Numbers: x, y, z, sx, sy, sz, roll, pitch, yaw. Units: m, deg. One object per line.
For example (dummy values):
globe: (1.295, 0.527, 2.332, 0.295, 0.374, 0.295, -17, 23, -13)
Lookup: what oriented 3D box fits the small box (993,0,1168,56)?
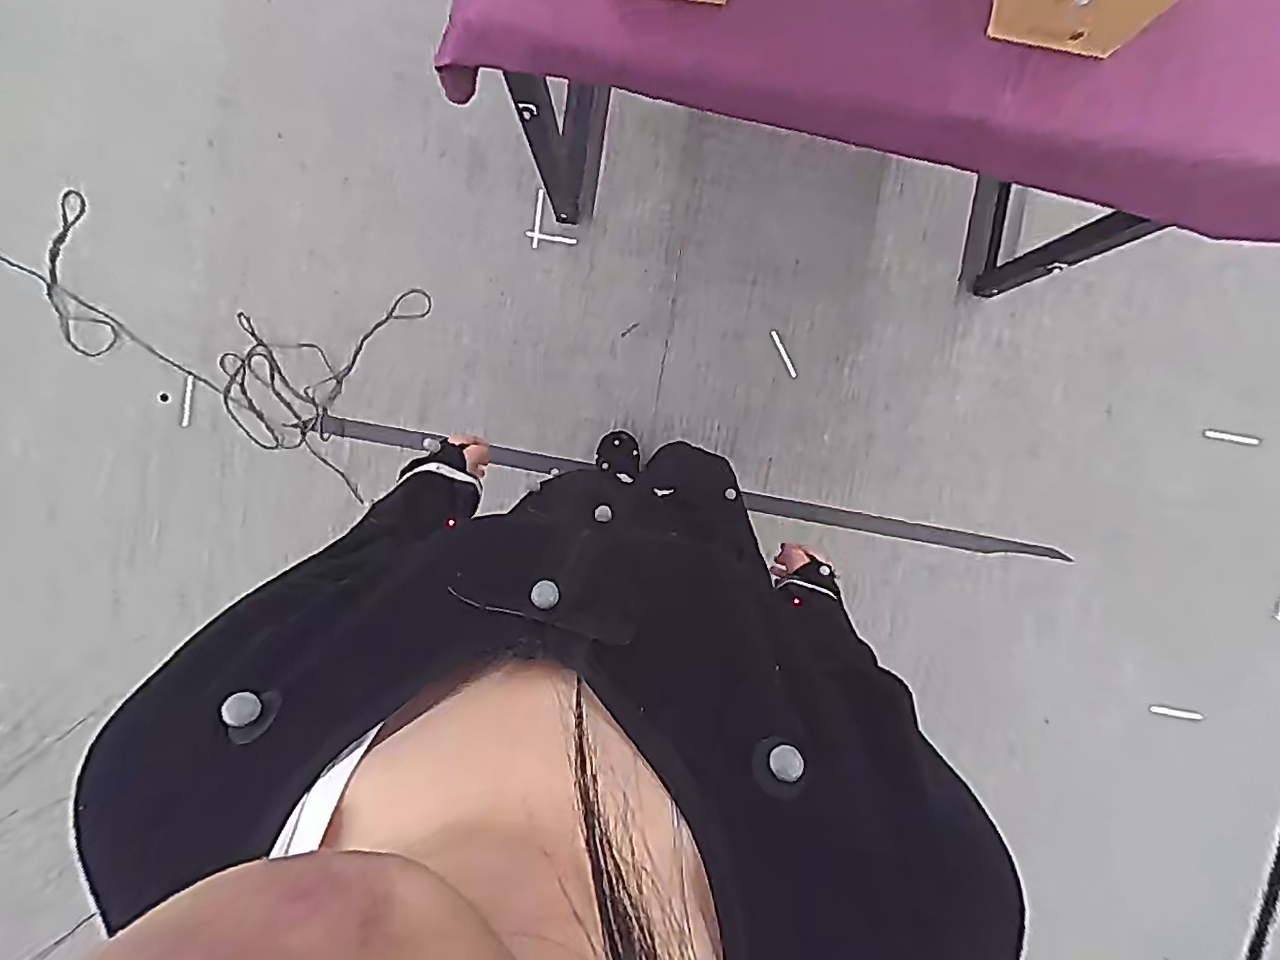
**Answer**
small box: (0.559, -0.655, 0.640, 0.168, 0.176, 0.179, 10, 94, -1)
